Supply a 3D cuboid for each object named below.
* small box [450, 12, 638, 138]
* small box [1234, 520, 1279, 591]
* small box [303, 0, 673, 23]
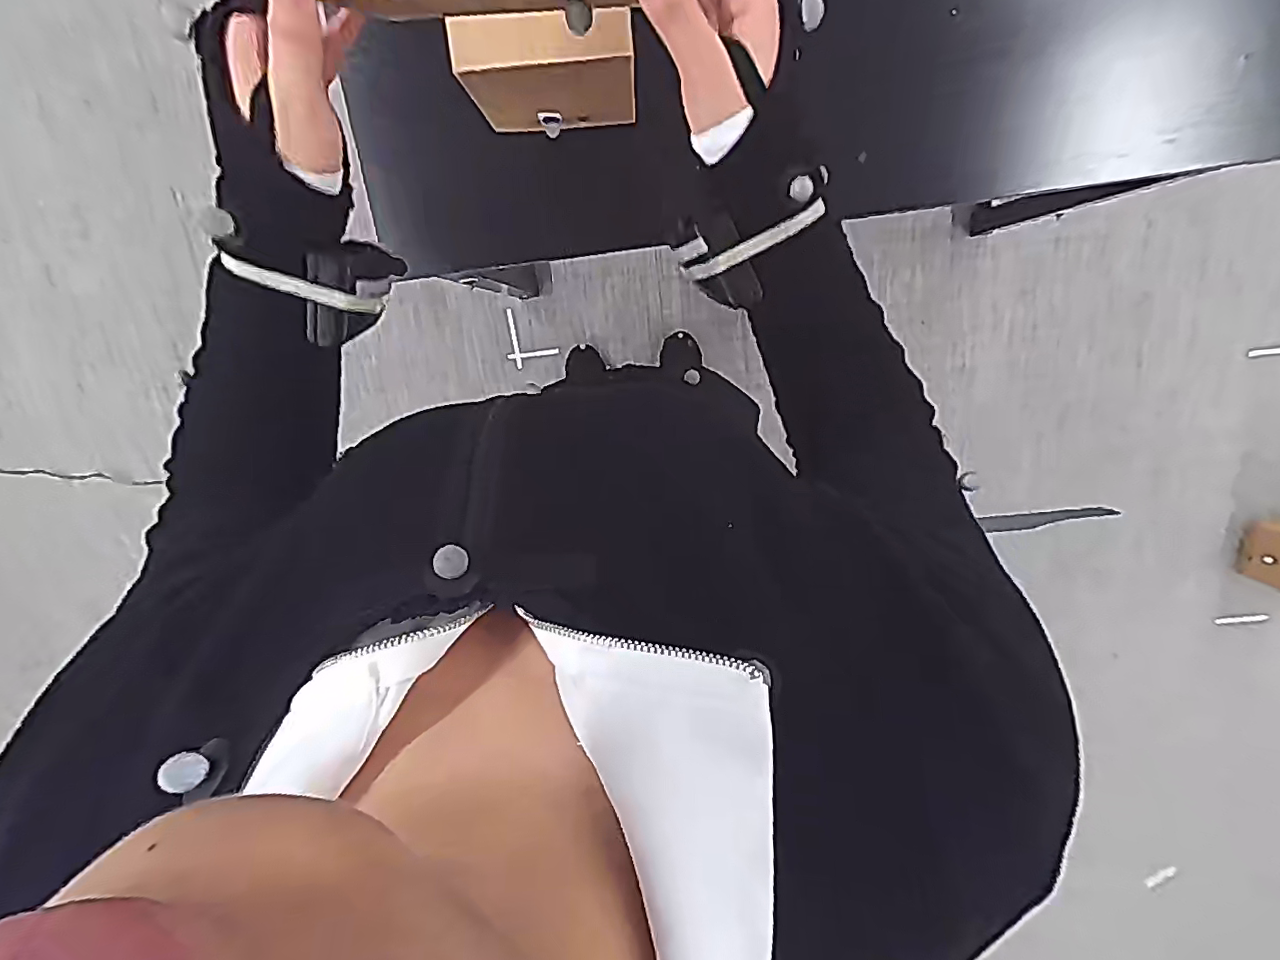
[{"bbox_3d":[-0.090,-0.473,0.540,0.168,0.176,0.179,-4,106,2],"label":"small box"},{"bbox_3d":[1.826,0.214,1.496,0.179,0.176,0.168,-5,106,2],"label":"small box"},{"bbox_3d":[-0.077,-0.335,0.263,0.179,0.176,0.168,-5,129,-2],"label":"small box"}]
